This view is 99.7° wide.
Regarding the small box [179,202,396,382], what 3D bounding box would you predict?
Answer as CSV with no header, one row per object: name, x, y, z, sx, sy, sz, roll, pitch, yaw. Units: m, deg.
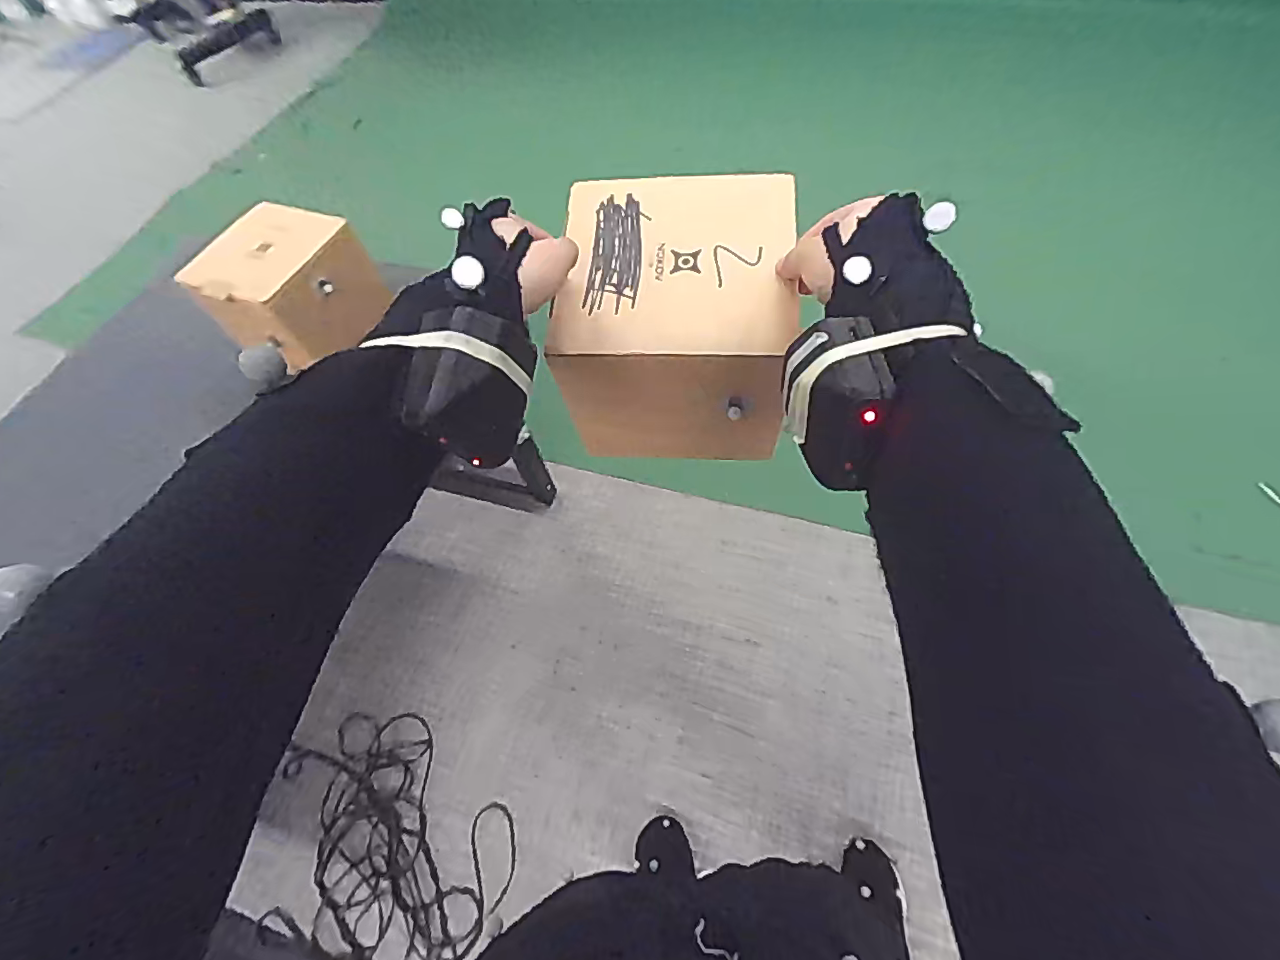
small box,-0.502,-0.273,0.803,0.168,0.176,0.179,18,63,15
